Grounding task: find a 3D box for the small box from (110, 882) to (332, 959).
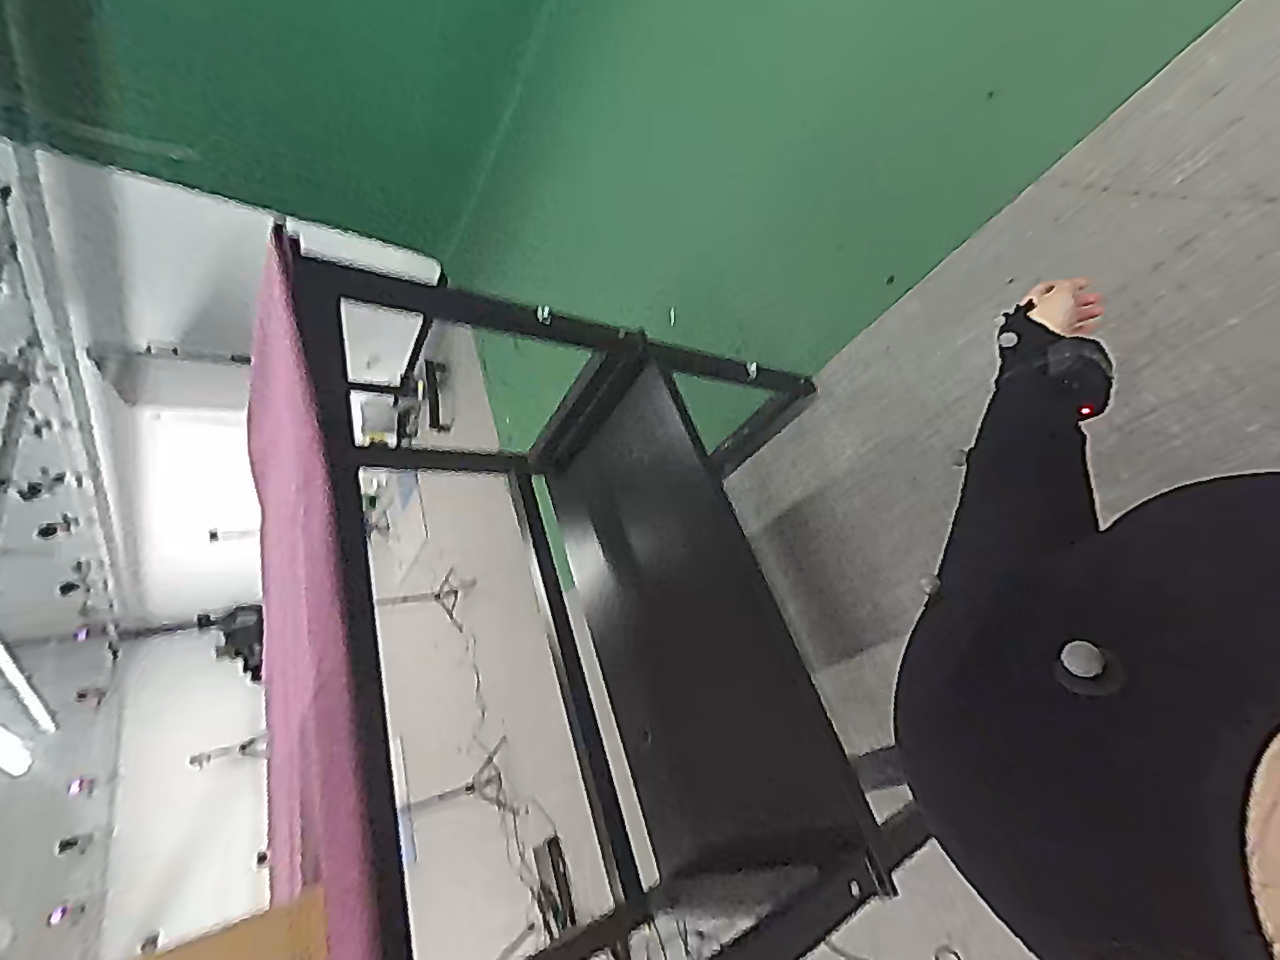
[{"bbox_3d":[-0.368,0.475,0.461,0.179,0.176,0.168,-48,53,38],"label":"small box"}]
